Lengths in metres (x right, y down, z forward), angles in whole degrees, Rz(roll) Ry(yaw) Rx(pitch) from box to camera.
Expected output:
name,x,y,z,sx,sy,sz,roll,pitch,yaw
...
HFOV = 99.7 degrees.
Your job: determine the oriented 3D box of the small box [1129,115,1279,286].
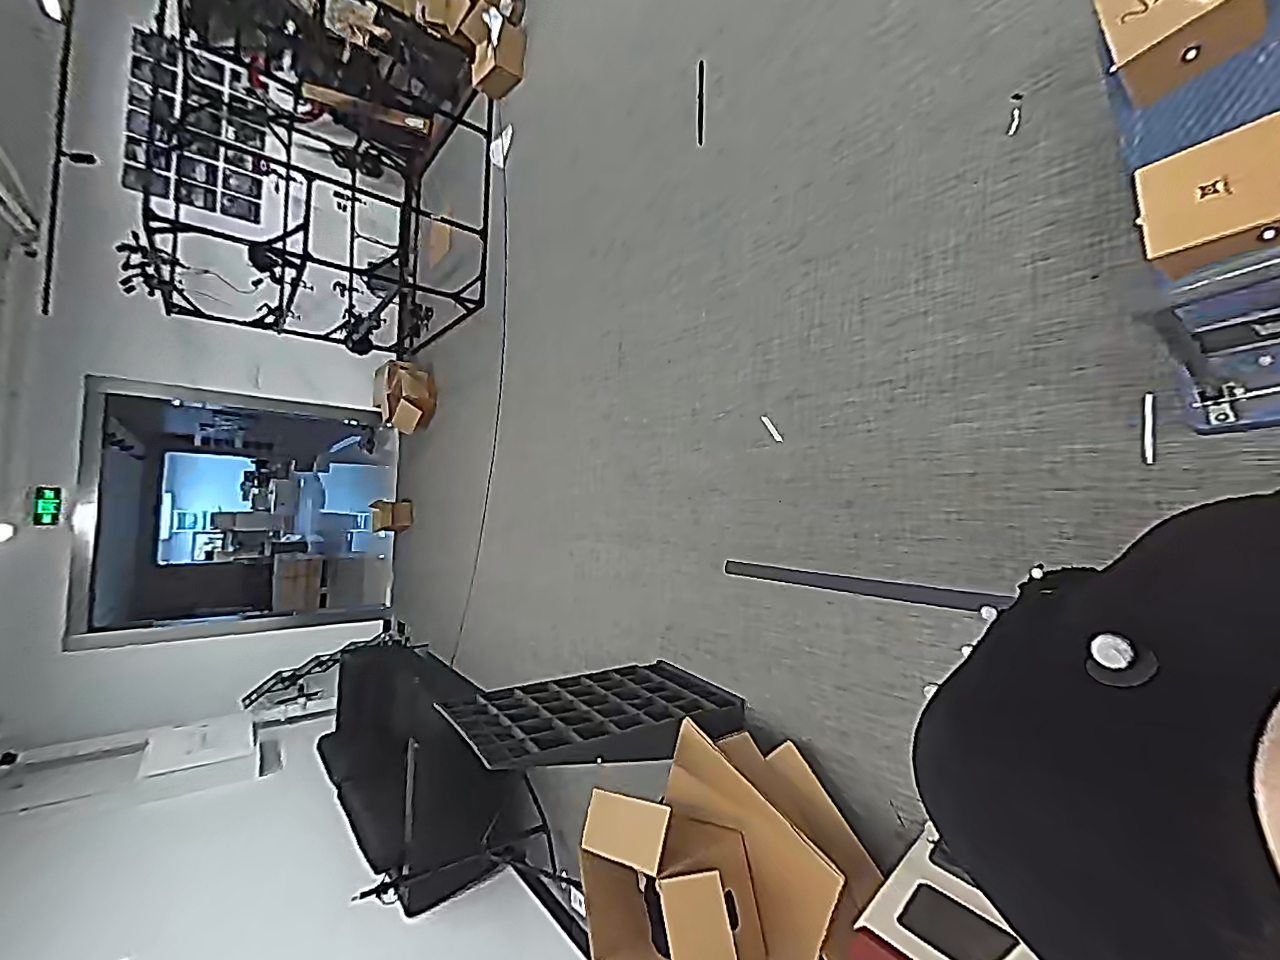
name,x,y,z,sx,sy,sz,roll,pitch,yaw
small box,0.967,-0.452,0.913,0.179,0.176,0.168,-10,79,50
